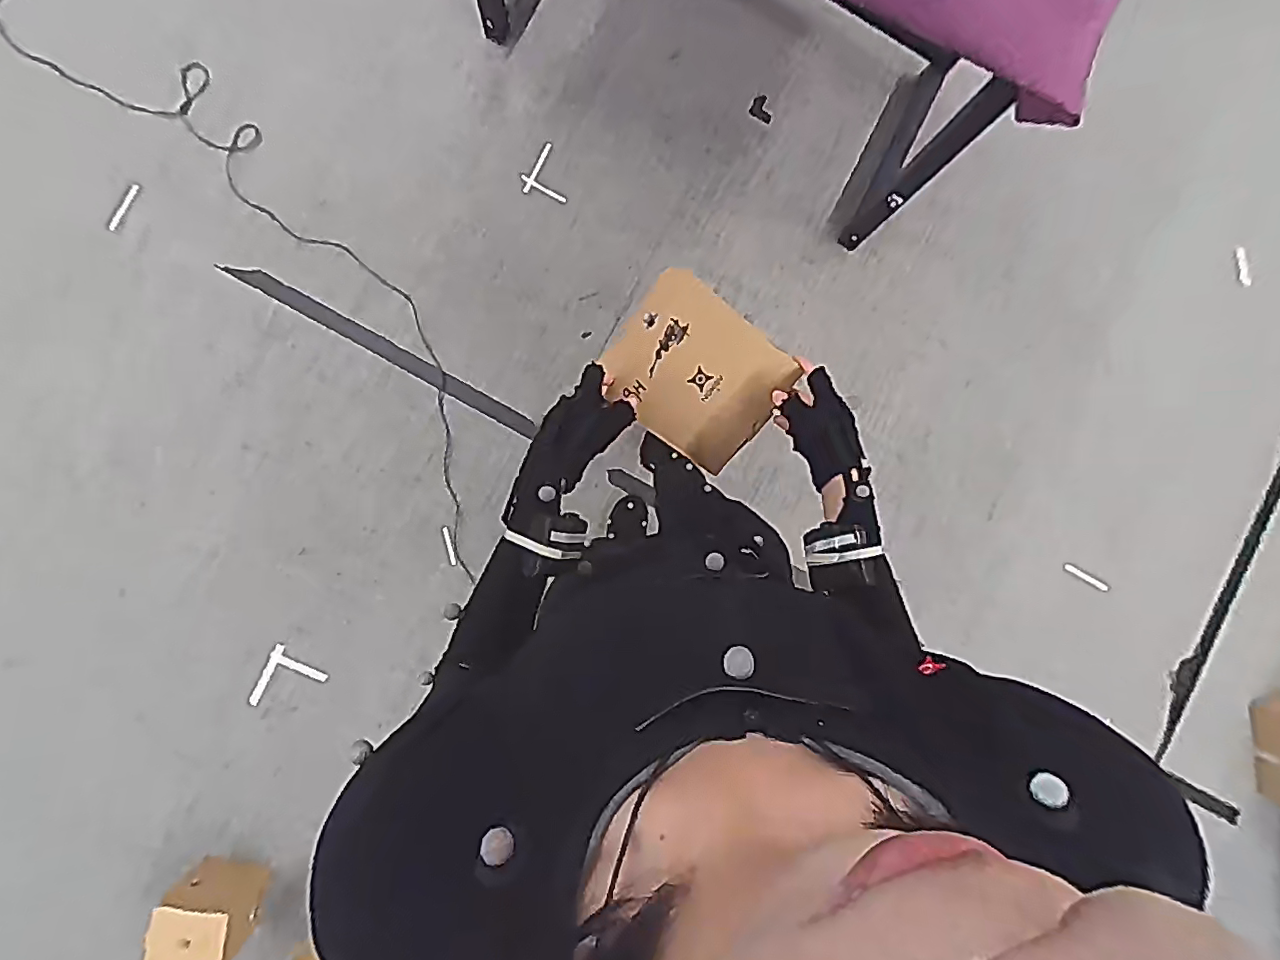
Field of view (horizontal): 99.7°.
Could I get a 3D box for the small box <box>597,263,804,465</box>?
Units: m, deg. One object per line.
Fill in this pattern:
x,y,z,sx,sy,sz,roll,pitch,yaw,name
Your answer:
0.063,-0.153,0.677,0.179,0.176,0.168,33,106,-20,small box

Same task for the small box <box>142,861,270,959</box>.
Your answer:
-1.073,1.088,1.345,0.179,0.176,0.168,10,89,-5,small box
